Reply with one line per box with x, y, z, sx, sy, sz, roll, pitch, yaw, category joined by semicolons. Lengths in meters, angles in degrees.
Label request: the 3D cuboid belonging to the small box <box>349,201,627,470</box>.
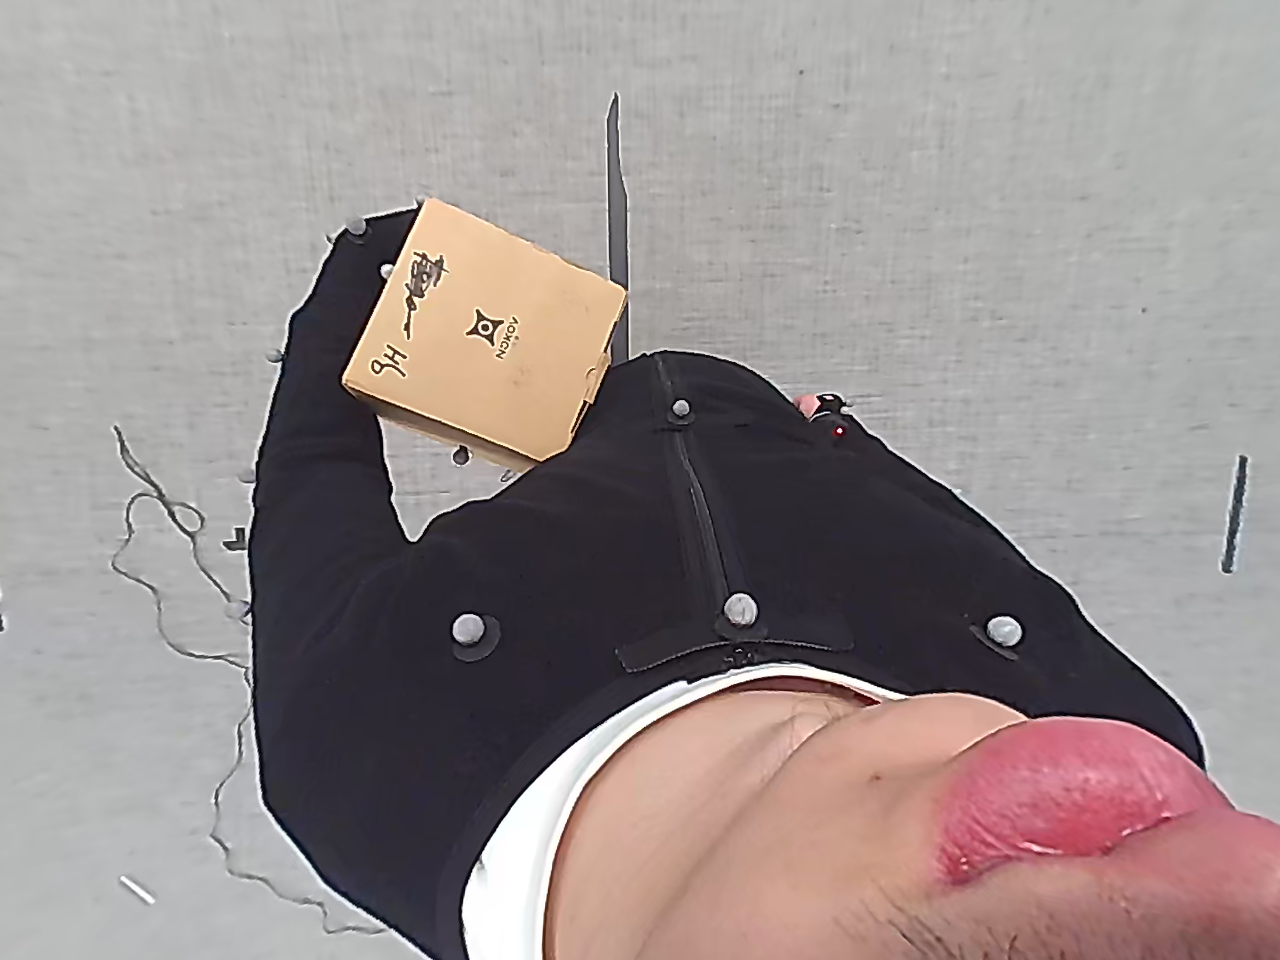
-0.136;-0.114;0.514;0.179;0.176;0.168;22;81;-13;small box
